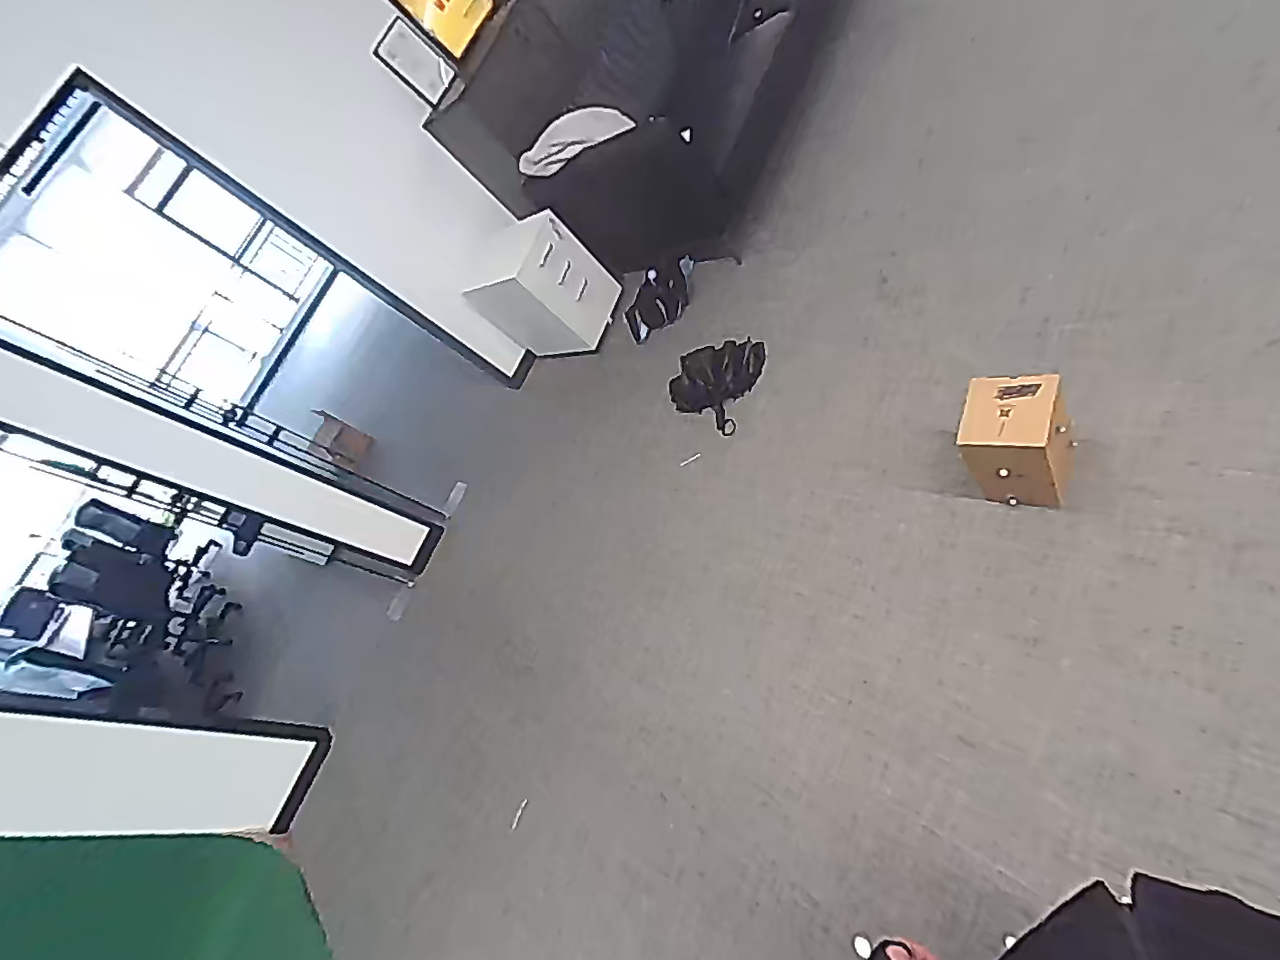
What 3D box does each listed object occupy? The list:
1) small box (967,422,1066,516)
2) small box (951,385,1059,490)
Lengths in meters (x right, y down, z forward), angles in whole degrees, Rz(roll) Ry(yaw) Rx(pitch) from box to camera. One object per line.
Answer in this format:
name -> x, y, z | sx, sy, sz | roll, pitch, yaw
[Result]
small box -> 0.933, -0.031, 1.334 | 0.168, 0.176, 0.179 | 8, 71, 45
small box -> 0.830, -0.096, 1.223 | 0.168, 0.176, 0.179 | 8, 70, 45
